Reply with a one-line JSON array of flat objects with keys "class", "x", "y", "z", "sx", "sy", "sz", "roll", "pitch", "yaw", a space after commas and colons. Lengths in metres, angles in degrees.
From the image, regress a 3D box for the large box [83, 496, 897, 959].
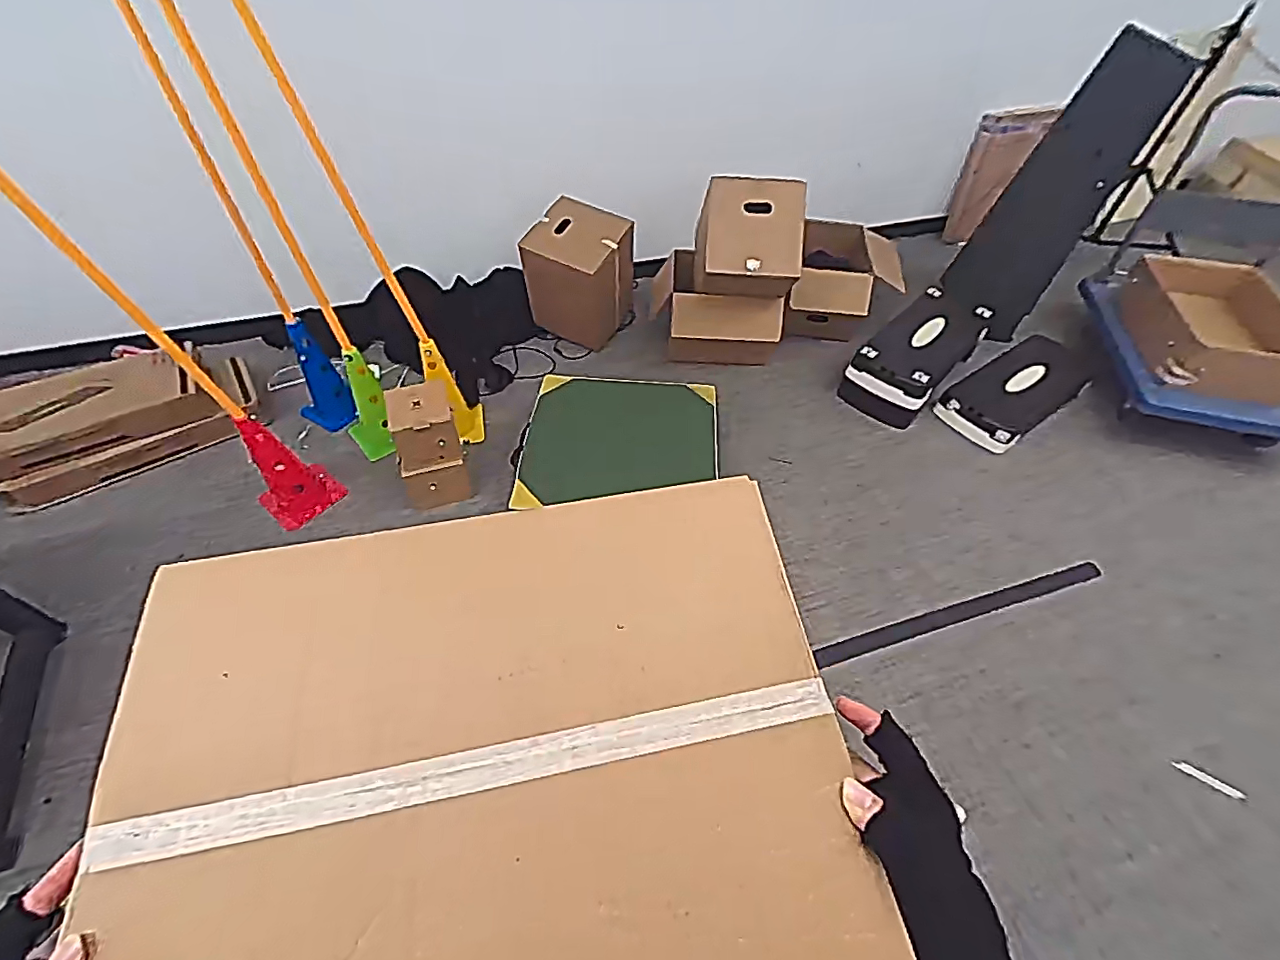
[{"class": "large box", "x": -0.088, "y": 0.245, "z": 0.439, "sx": 0.408, "sy": 0.320, "sz": 0.320, "roll": -9, "pitch": 60, "yaw": -6}]
